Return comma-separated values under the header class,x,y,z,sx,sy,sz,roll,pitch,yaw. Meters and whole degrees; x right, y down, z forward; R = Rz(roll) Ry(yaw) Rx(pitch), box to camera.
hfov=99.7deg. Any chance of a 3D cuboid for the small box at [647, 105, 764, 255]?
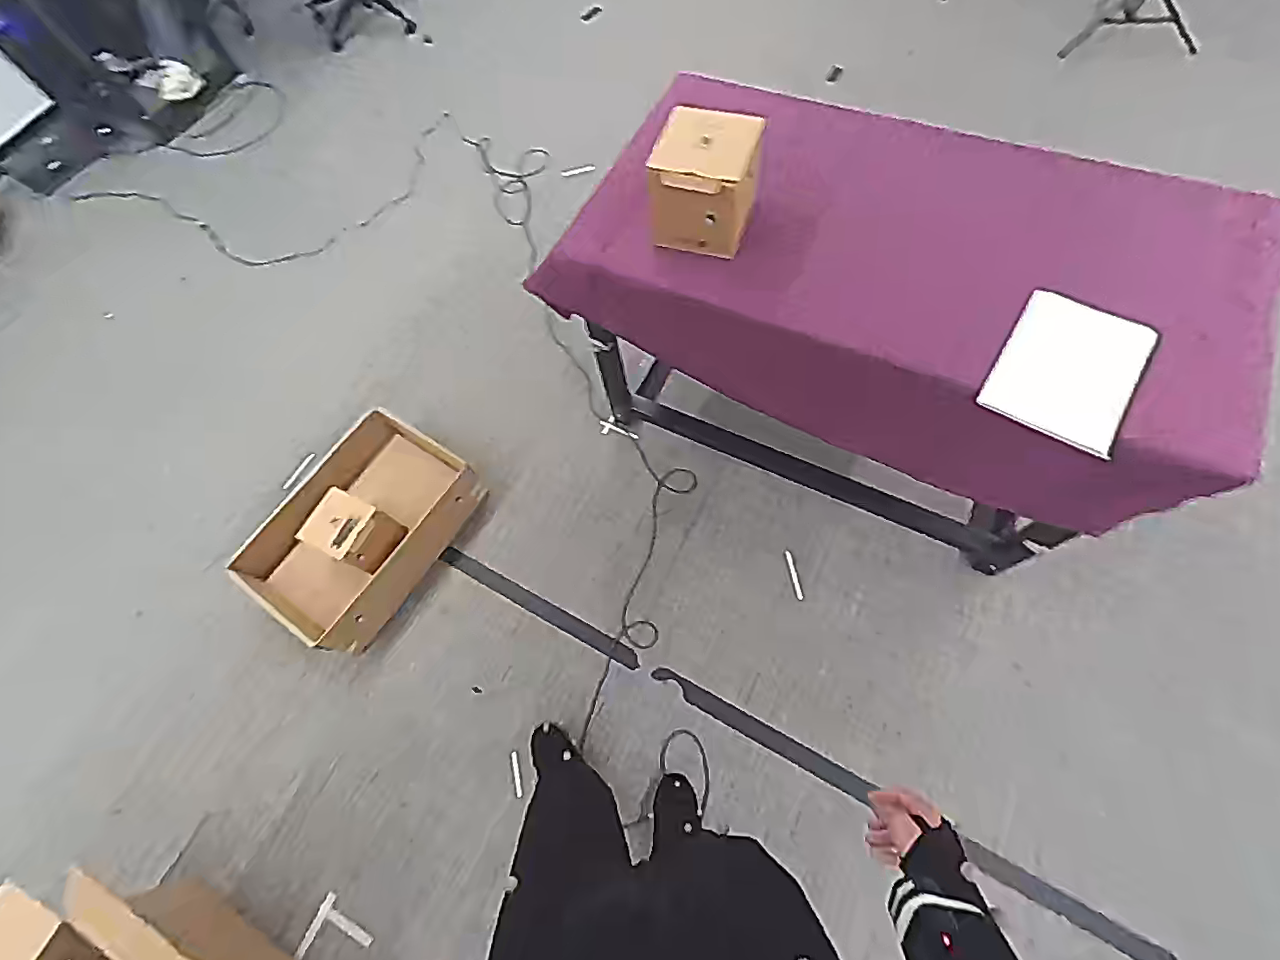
class,x,y,z,sx,sy,sz,roll,pitch,yaw
small box,0.124,-0.557,1.016,0.168,0.176,0.179,17,69,12
